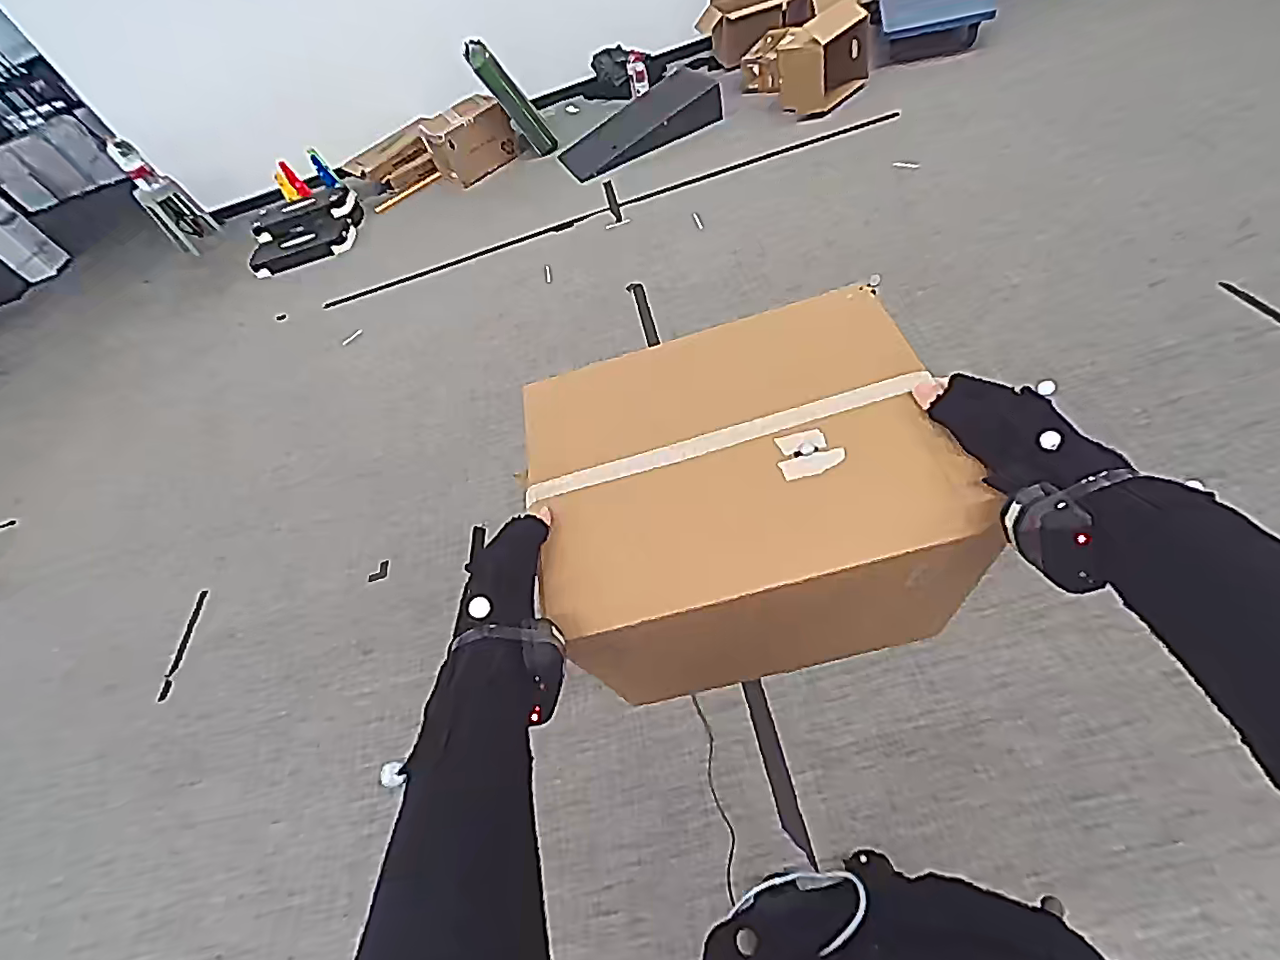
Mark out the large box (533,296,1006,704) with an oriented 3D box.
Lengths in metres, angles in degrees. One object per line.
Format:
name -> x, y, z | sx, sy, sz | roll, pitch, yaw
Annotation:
large box -> 0.120, 0.045, 0.667 | 0.408, 0.320, 0.320 | -16, 56, 5
